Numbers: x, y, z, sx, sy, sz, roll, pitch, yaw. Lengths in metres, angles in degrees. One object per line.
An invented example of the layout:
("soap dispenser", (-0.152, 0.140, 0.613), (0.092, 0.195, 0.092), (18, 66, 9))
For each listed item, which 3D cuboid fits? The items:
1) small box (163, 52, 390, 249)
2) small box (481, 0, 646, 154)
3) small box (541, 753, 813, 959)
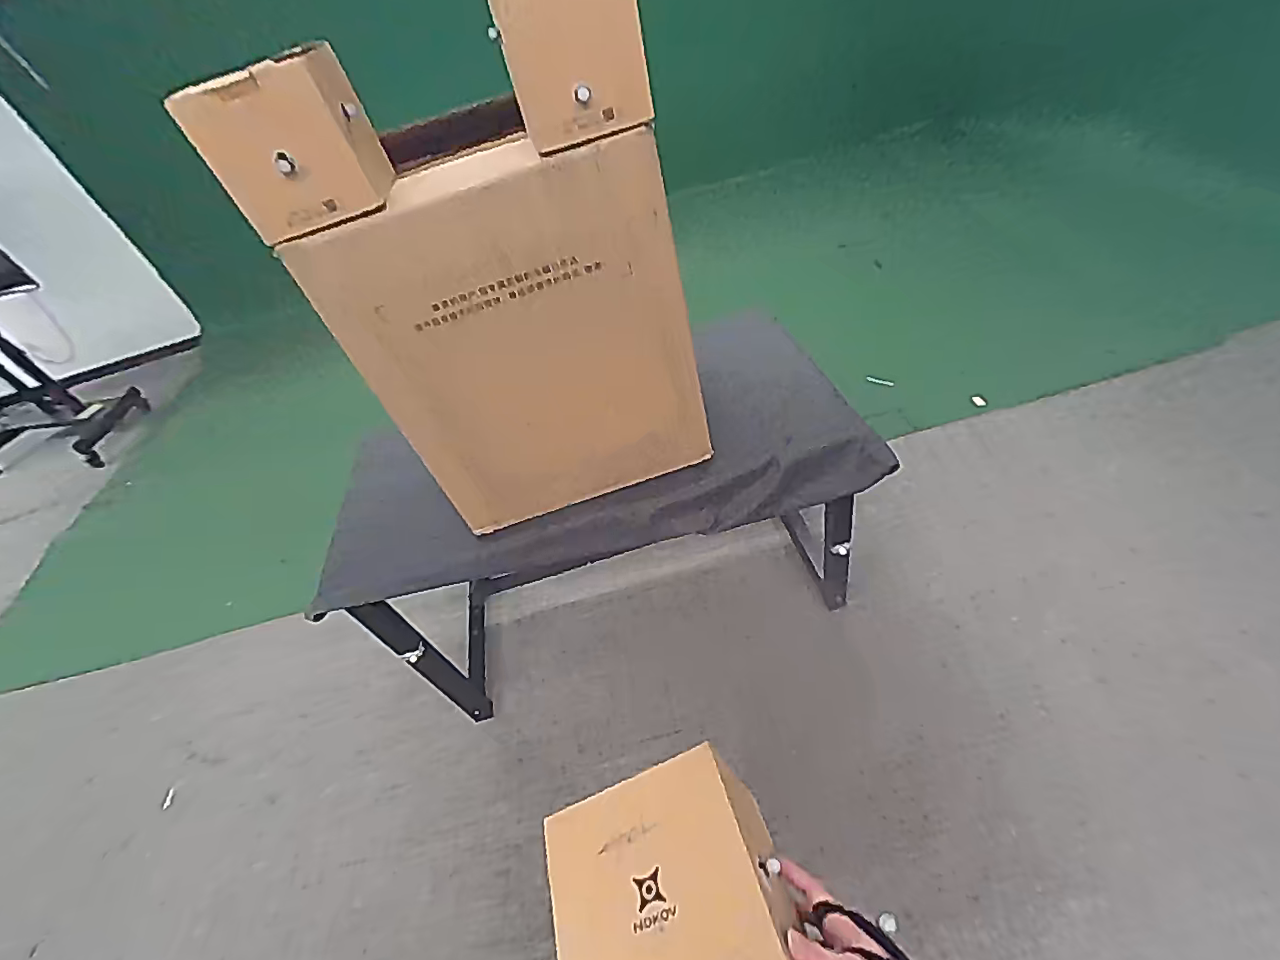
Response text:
("small box", (-0.460, -0.433, 0.722), (0.168, 0.176, 0.179), (-20, 44, 1))
("small box", (-0.102, -0.559, 0.719), (0.168, 0.176, 0.179), (-19, 45, -1))
("small box", (0.037, 0.375, 0.457), (0.168, 0.176, 0.179), (-27, 38, 3))
